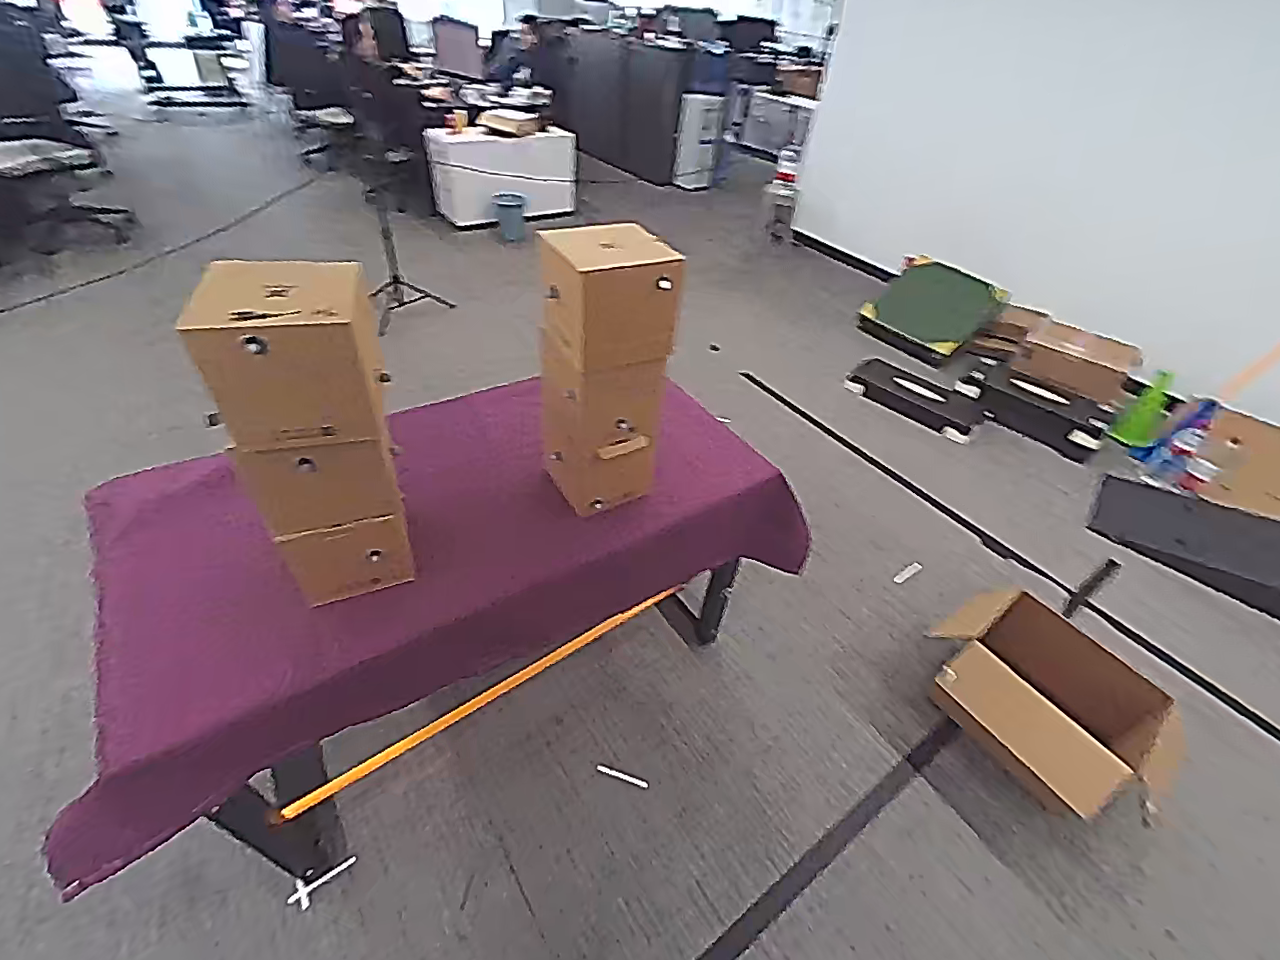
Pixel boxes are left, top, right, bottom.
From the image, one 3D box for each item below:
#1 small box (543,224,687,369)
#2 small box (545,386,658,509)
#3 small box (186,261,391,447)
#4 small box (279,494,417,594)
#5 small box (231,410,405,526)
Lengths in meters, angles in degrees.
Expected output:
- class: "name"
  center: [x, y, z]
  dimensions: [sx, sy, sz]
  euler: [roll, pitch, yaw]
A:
- class: "small box"
  center: [-0.046, -0.299, 0.882]
  dimensions: [0.179, 0.176, 0.168]
  euler: [-17, 48, -24]
- class: "small box"
  center: [-0.081, -0.062, 1.103]
  dimensions: [0.168, 0.176, 0.179]
  euler: [-19, 47, -25]
- class: "small box"
  center: [-0.423, -0.163, 0.689]
  dimensions: [0.168, 0.176, 0.179]
  euler: [-7, 44, -17]
- class: "small box"
  center: [-0.483, 0.071, 0.911]
  dimensions: [0.168, 0.176, 0.179]
  euler: [-12, 46, -20]
- class: "small box"
  center: [-0.464, -0.052, 0.804]
  dimensions: [0.179, 0.176, 0.168]
  euler: [-11, 46, -20]
